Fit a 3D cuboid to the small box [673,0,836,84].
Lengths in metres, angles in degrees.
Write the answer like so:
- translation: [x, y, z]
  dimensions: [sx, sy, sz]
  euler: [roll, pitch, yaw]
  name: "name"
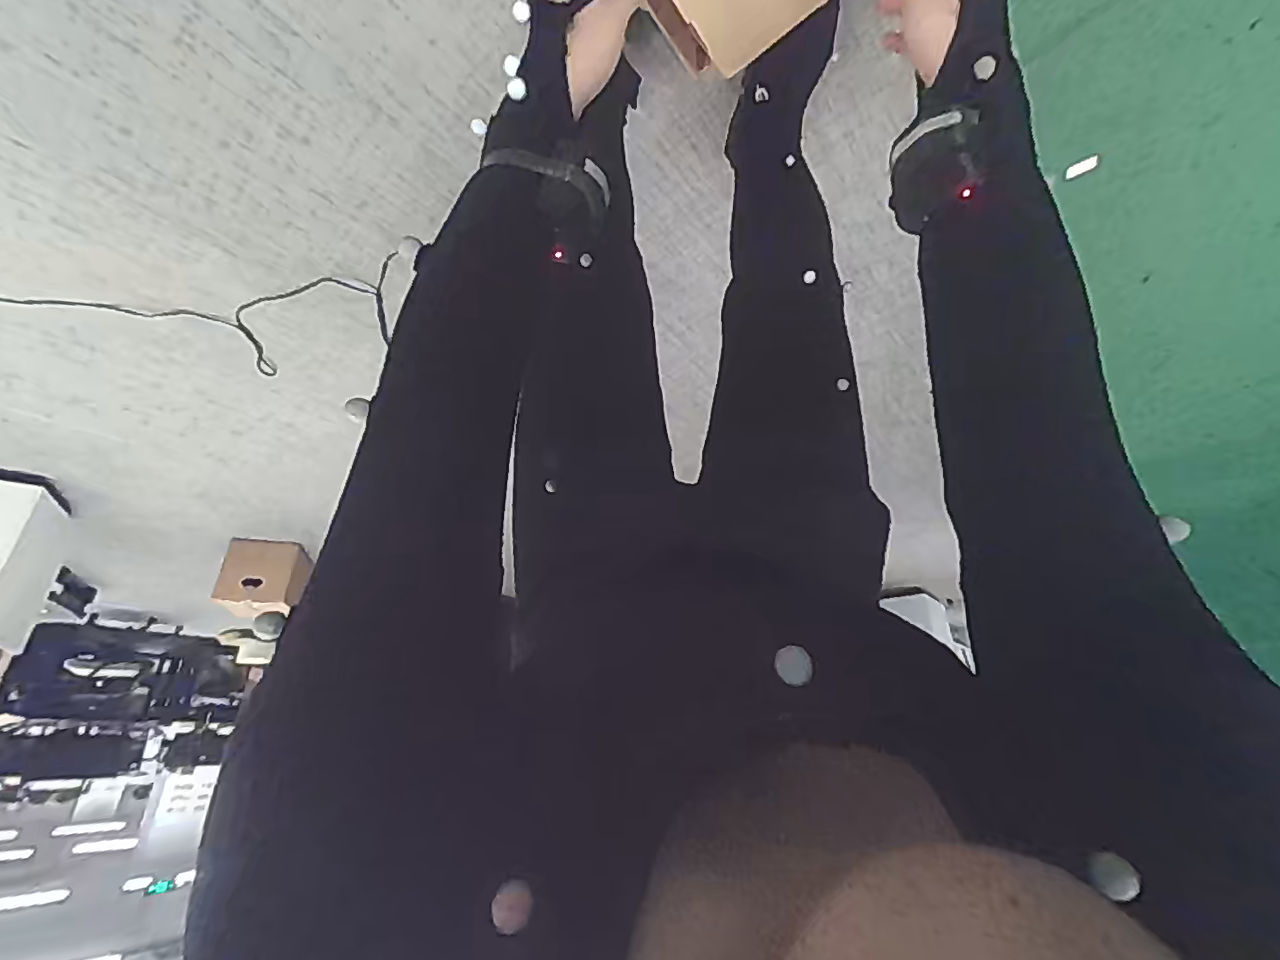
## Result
- translation: [0.097, -0.495, 0.441]
  dimensions: [0.179, 0.176, 0.168]
  euler: [-19, 148, 35]
  name: "small box"
